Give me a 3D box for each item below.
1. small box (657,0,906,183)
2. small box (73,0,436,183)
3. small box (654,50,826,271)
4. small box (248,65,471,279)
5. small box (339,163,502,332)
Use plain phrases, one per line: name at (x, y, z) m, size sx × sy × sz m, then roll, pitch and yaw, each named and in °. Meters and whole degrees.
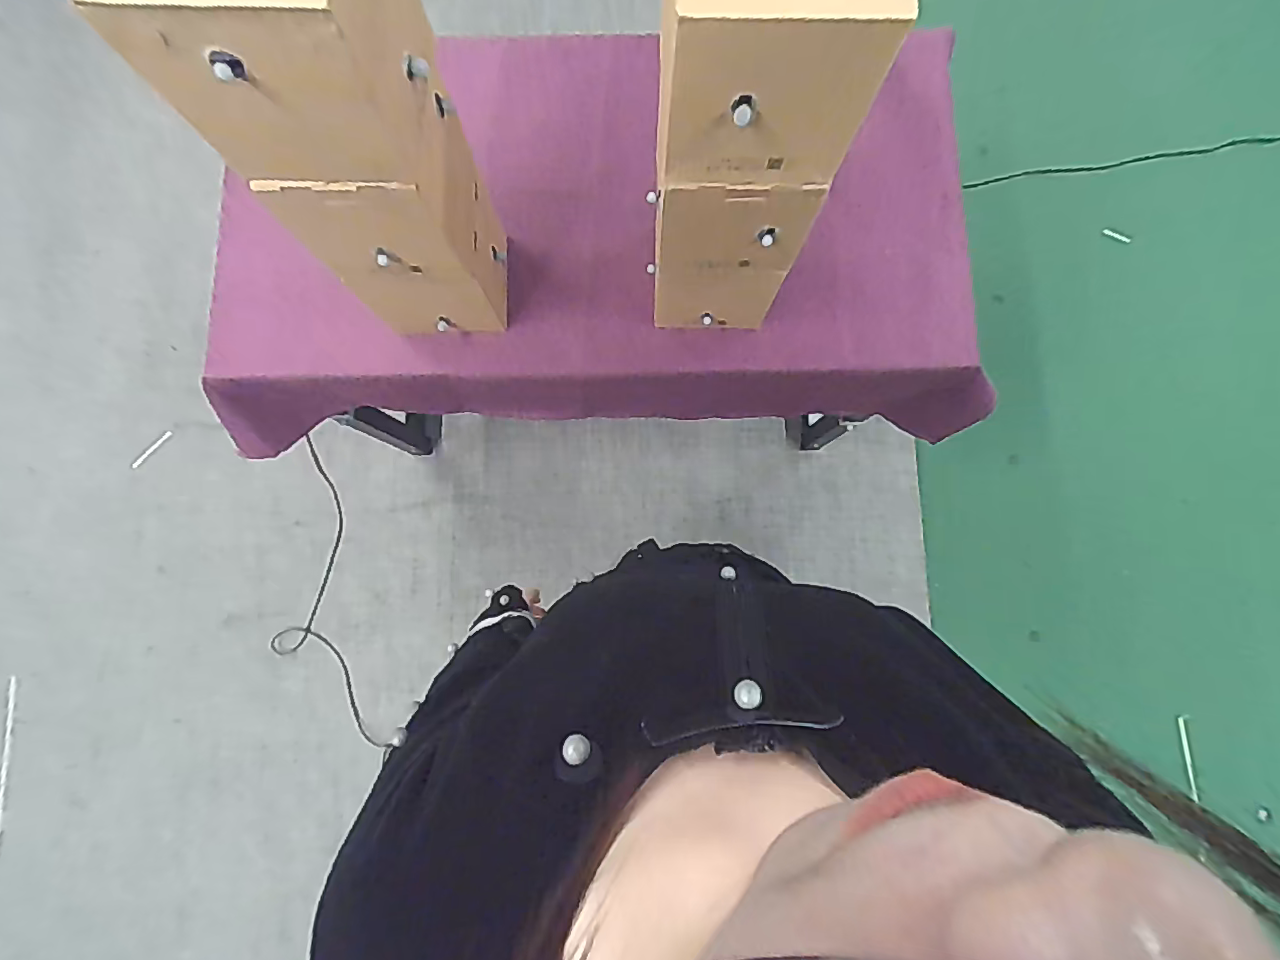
small box at (0.102, -0.383, 0.461) m, size 0.168 × 0.176 × 0.179 m, roll 0°, pitch 81°, yaw -1°
small box at (-0.294, -0.380, 0.455) m, size 0.179 × 0.176 × 0.168 m, roll 1°, pitch 81°, yaw -1°
small box at (0.102, -0.358, 0.622) m, size 0.168 × 0.176 × 0.179 m, roll -1°, pitch 82°, yaw -1°
small box at (-0.300, -0.354, 0.617) m, size 0.168 × 0.176 × 0.179 m, roll -1°, pitch 82°, yaw 0°
small box at (-0.301, -0.325, 0.780) m, size 0.179 × 0.176 × 0.168 m, roll -2°, pitch 81°, yaw -1°
